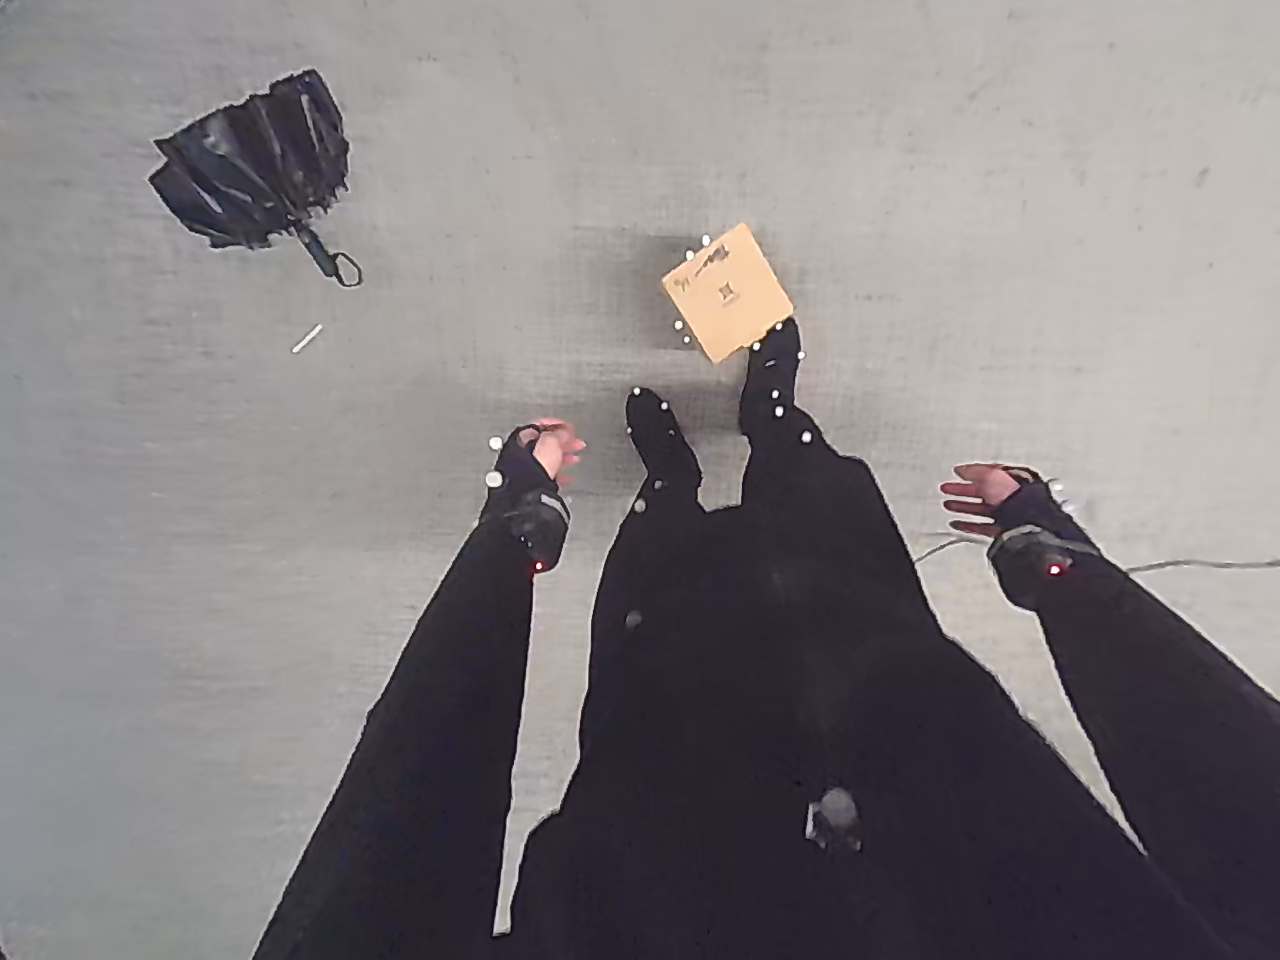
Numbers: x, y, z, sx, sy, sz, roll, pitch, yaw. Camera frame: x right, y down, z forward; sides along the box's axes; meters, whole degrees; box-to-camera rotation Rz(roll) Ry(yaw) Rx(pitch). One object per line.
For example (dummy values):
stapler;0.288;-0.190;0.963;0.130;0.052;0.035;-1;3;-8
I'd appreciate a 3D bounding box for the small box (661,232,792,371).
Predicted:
small box;0.152;-0.329;1.002;0.168;0.176;0.179;-33;106;10
